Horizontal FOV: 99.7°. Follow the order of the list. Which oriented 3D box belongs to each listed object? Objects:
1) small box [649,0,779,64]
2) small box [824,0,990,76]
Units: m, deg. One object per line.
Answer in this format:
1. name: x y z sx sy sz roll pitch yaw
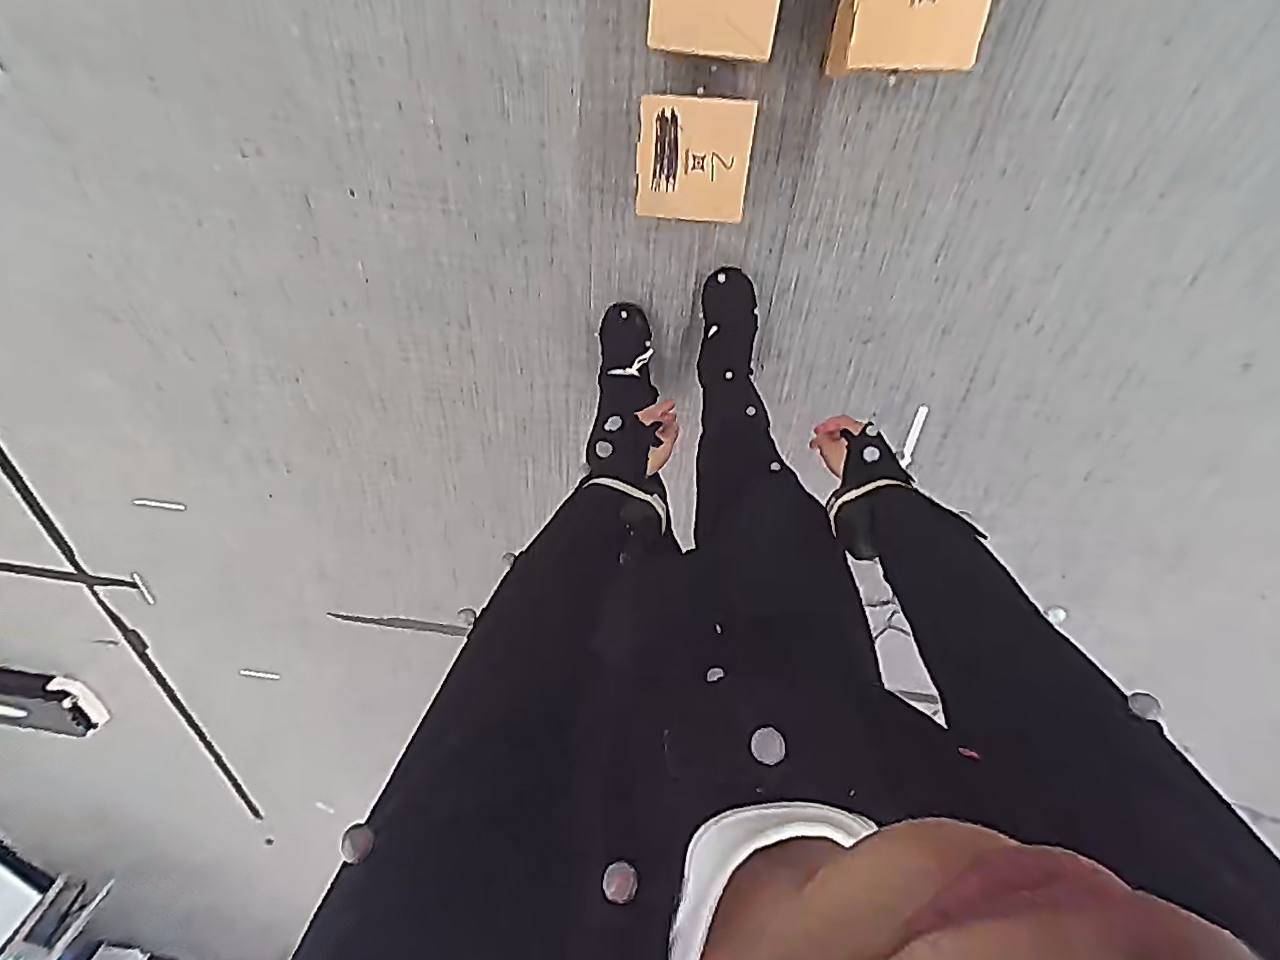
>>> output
1. small box: 0.112 -0.715 0.782 0.179 0.176 0.168 7 125 1
2. small box: 0.382 -0.689 0.776 0.179 0.176 0.168 4 125 4
